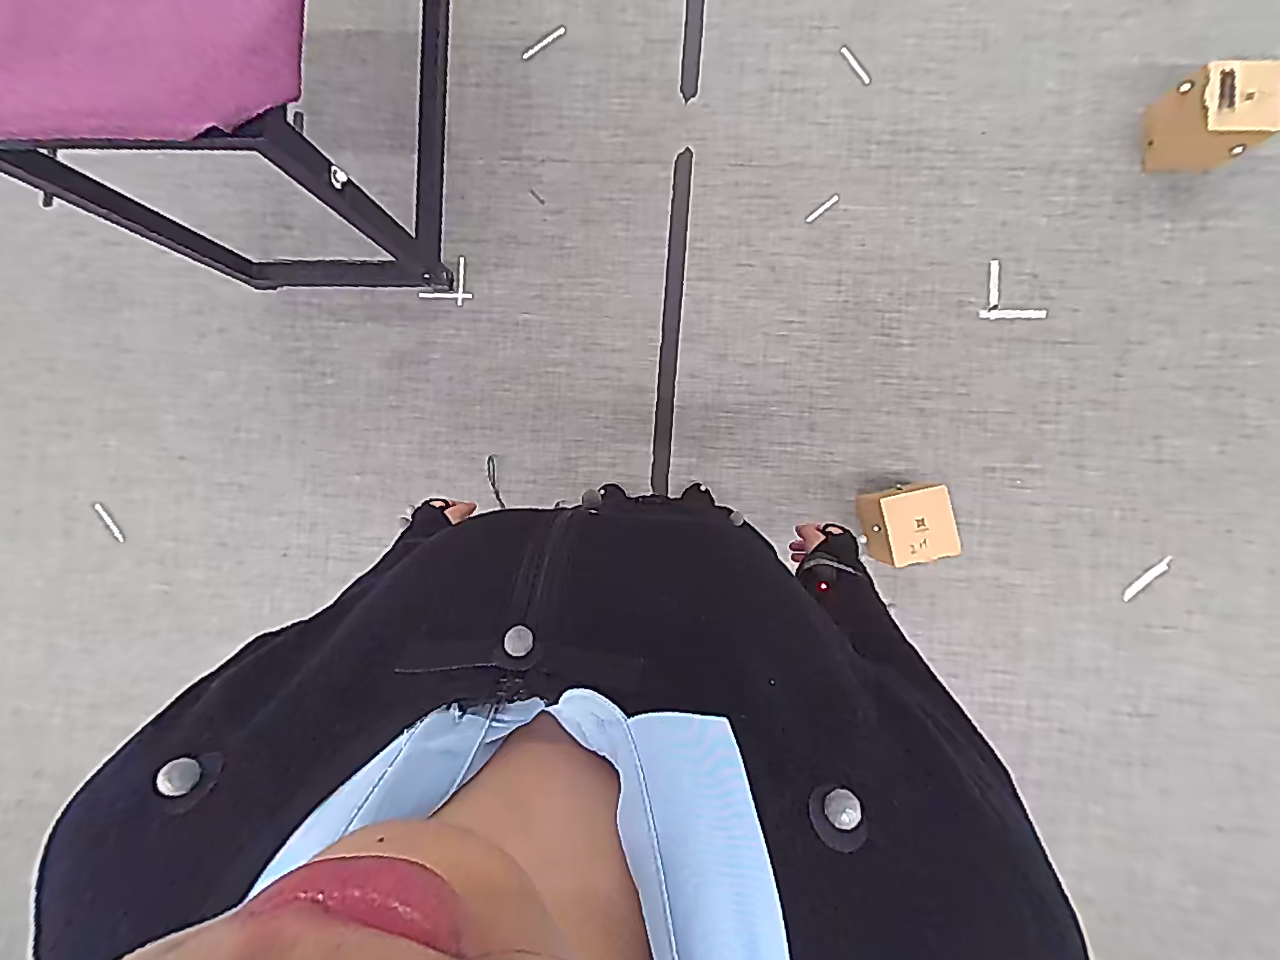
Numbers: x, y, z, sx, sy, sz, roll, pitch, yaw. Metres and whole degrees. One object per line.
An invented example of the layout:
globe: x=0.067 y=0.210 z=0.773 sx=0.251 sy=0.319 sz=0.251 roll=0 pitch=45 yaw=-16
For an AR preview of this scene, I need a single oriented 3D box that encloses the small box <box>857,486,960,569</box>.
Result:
small box: x=0.679 y=0.116 z=1.389 sx=0.168 sy=0.176 sz=0.179 roll=-13 pitch=90 yaw=2
